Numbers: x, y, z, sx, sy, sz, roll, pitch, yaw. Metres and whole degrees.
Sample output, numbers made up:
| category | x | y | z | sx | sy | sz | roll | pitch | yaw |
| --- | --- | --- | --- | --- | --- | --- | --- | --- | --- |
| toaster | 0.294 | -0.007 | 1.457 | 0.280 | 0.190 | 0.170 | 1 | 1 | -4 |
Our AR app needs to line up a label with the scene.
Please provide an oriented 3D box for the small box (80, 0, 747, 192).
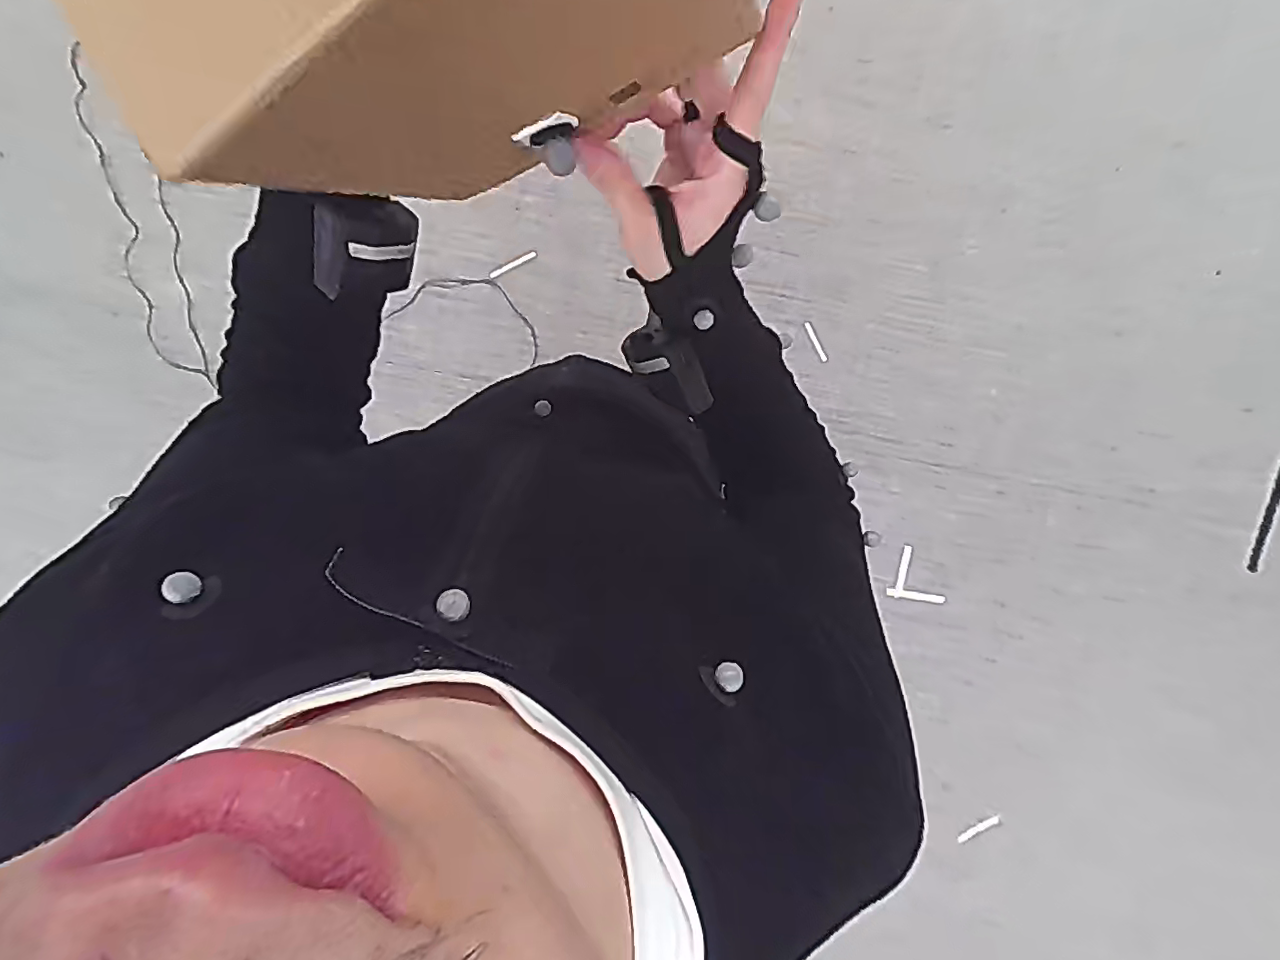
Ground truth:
| category | x | y | z | sx | sy | sz | roll | pitch | yaw |
| --- | --- | --- | --- | --- | --- | --- | --- | --- | --- |
| small box | -0.076 | -0.221 | 0.181 | 0.168 | 0.176 | 0.179 | -16 | 109 | 26 |
